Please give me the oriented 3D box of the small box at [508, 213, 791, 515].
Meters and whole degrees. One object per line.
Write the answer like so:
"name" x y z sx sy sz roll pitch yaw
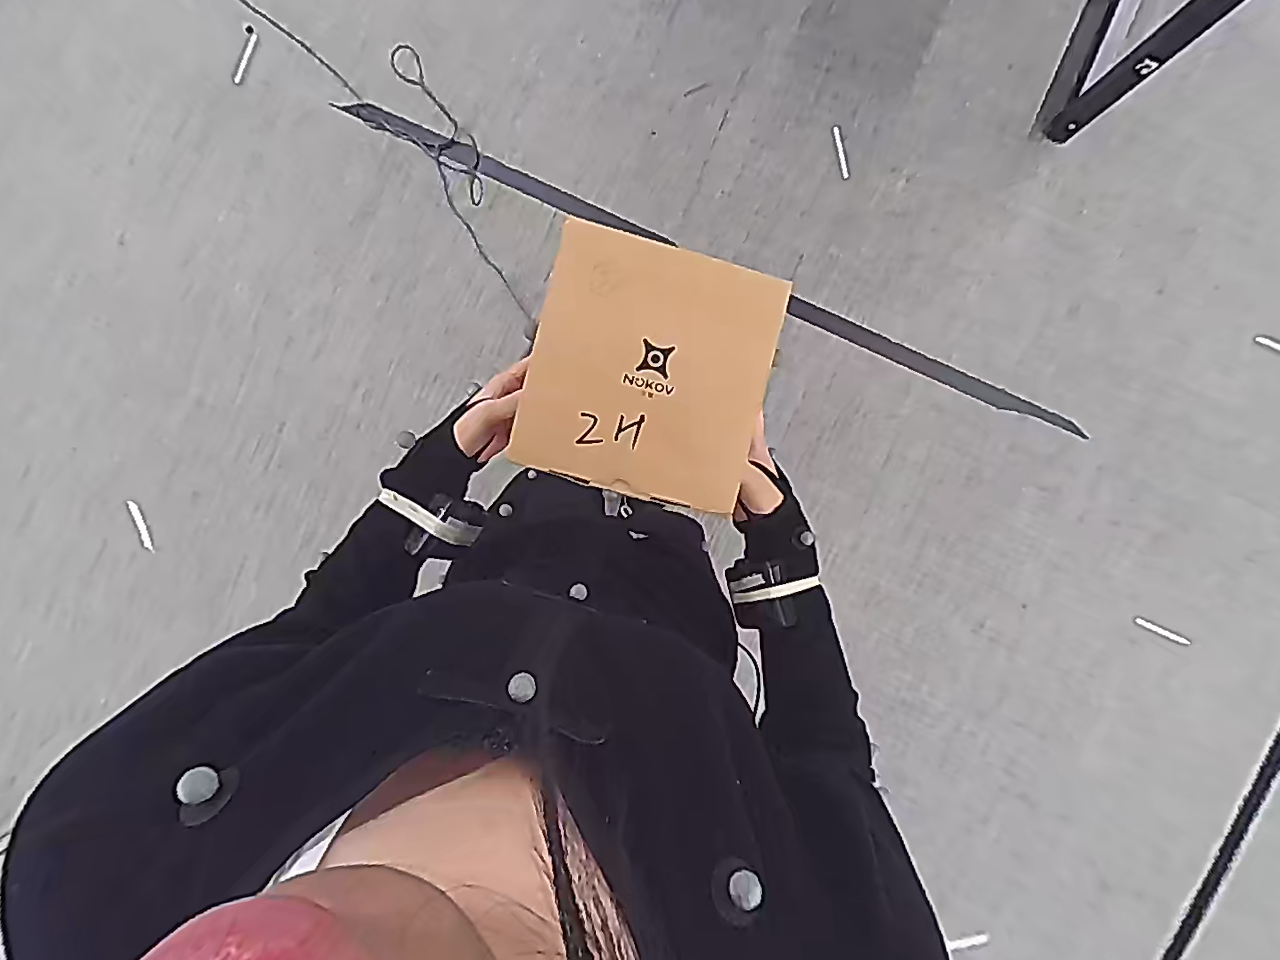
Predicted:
"small box" 0.002 -0.082 0.455 0.168 0.176 0.179 15 92 -4

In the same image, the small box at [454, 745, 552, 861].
"small box" -0.355 0.846 1.437 0.179 0.176 0.168 32 92 -1

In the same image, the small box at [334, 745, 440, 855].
"small box" -0.670 0.845 1.448 0.179 0.176 0.168 18 94 1
